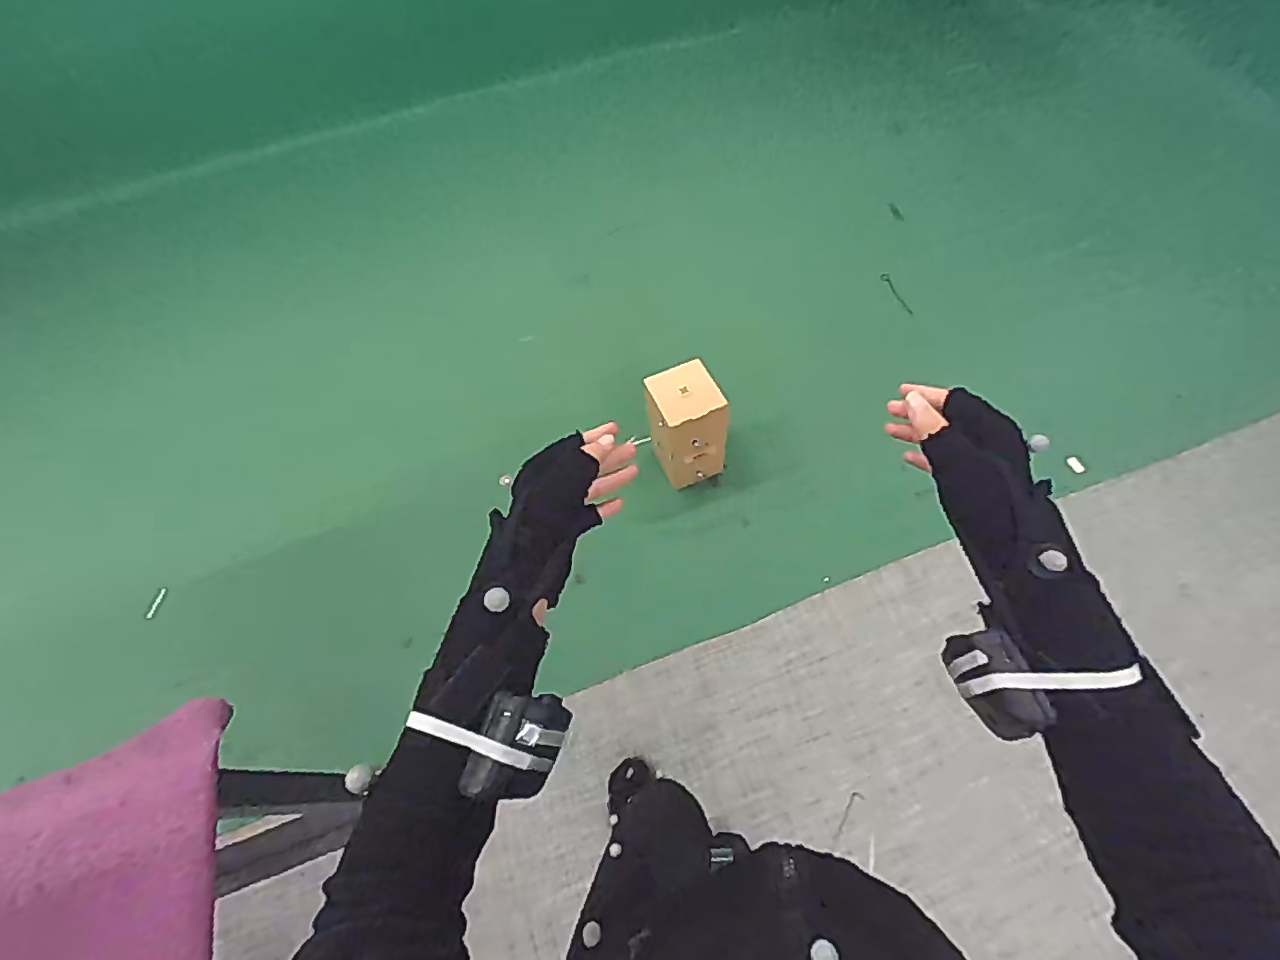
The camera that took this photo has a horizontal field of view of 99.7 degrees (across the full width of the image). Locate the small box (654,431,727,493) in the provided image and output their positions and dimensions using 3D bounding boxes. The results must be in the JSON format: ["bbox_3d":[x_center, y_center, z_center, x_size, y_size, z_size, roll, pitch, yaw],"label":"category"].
[{"bbox_3d":[0.145,-0.093,1.613,0.168,0.176,0.179,-21,60,-6],"label":"small box"}]

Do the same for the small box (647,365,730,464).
[{"bbox_3d":[0.128,-0.175,1.474,0.168,0.176,0.179,-23,61,-8],"label":"small box"}]
